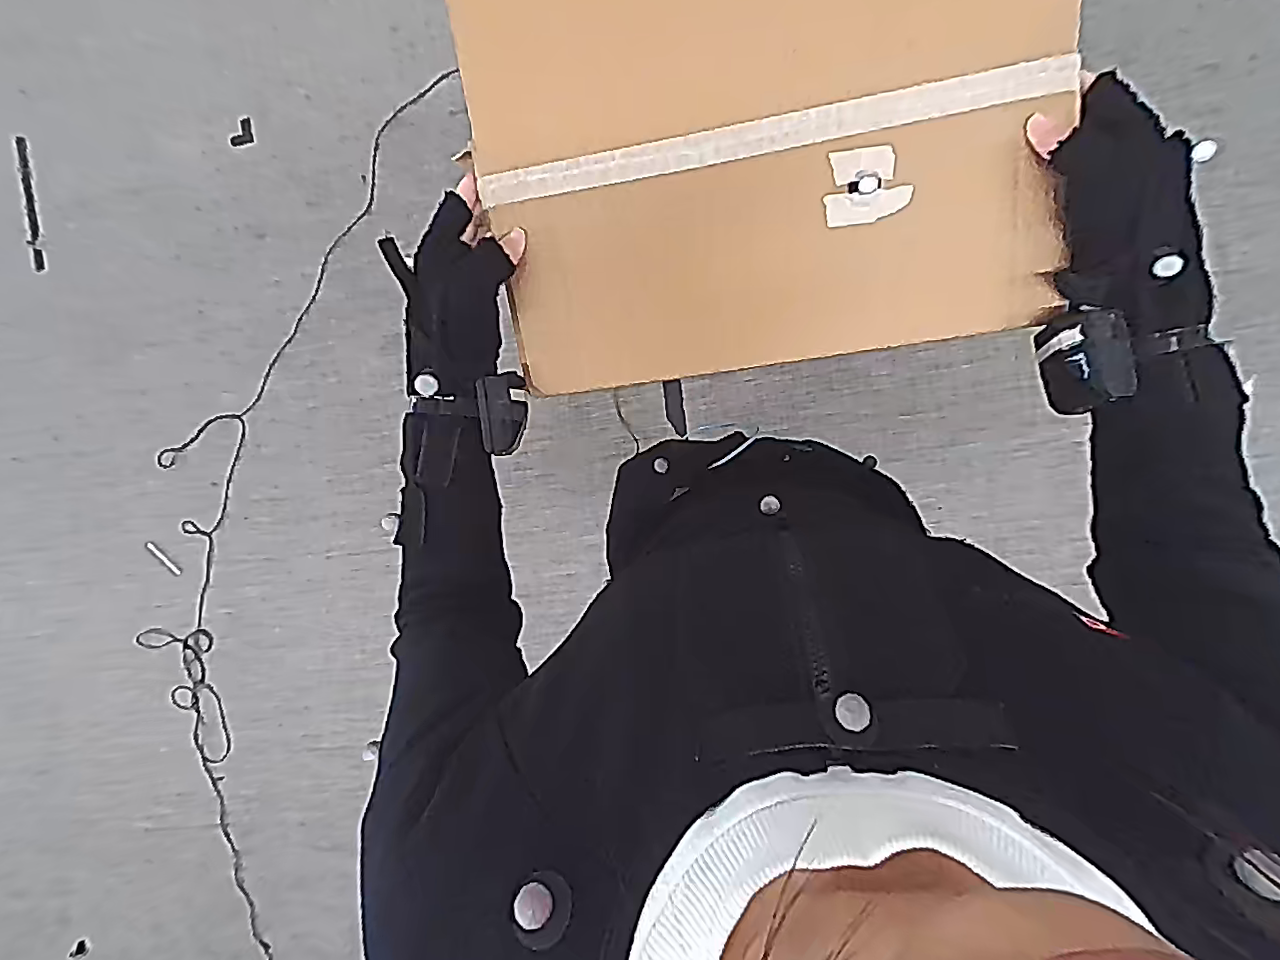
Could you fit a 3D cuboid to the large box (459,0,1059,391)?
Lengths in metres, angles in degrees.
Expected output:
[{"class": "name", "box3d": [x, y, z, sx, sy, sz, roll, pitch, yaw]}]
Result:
[{"class": "large box", "box3d": [0.098, -0.286, 0.535, 0.408, 0.320, 0.320, -7, 106, 7]}]
